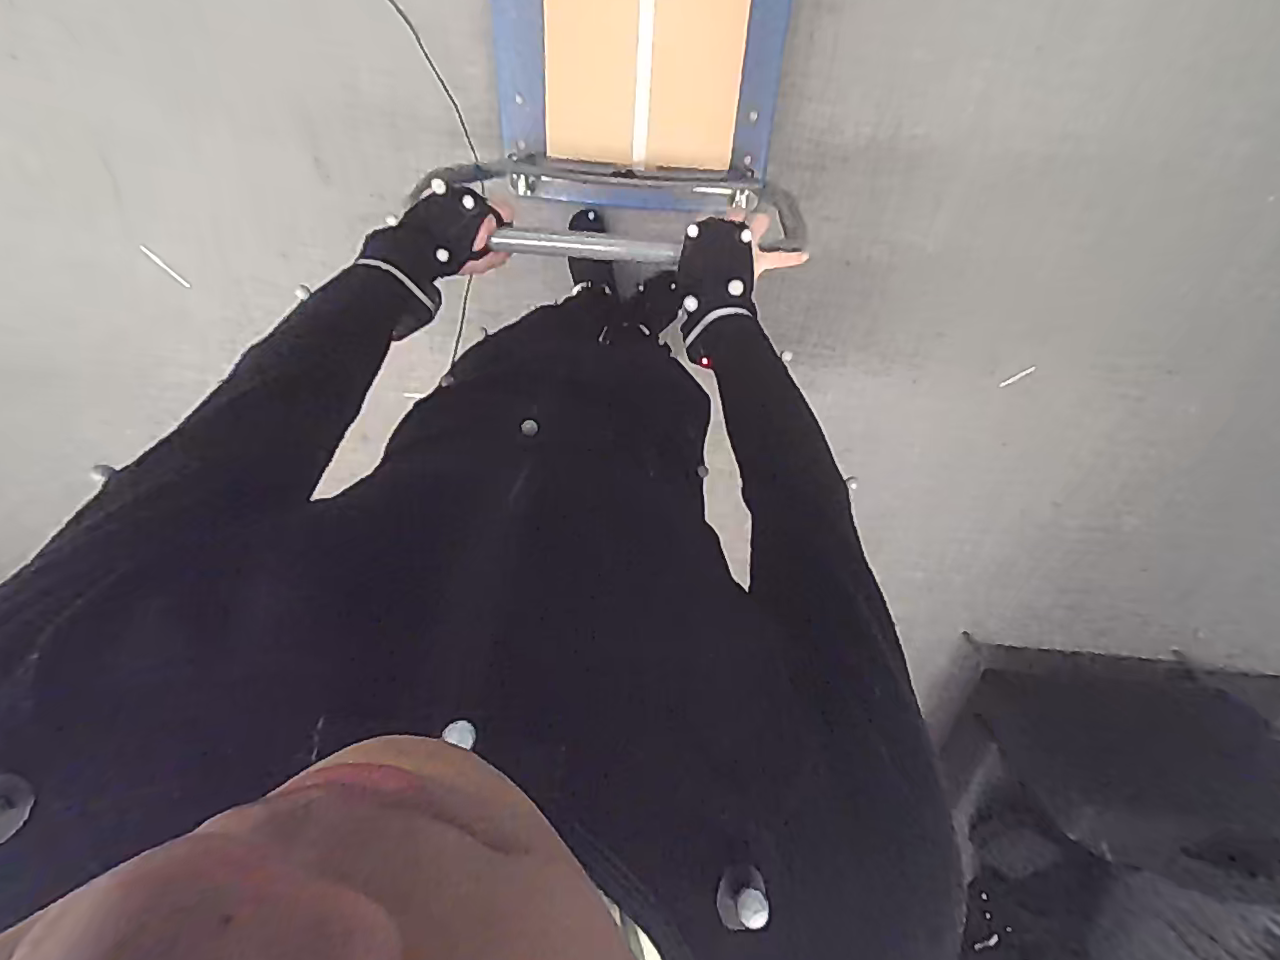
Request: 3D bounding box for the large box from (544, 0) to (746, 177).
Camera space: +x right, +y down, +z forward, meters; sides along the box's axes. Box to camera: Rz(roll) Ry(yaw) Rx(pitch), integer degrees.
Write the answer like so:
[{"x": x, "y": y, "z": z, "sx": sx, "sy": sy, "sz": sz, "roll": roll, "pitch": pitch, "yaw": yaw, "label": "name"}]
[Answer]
[{"x": 0.013, "y": -0.778, "z": 0.963, "sx": 0.320, "sy": 0.320, "sz": 0.408, "roll": 4, "pitch": 118, "yaw": 0, "label": "large box"}]
